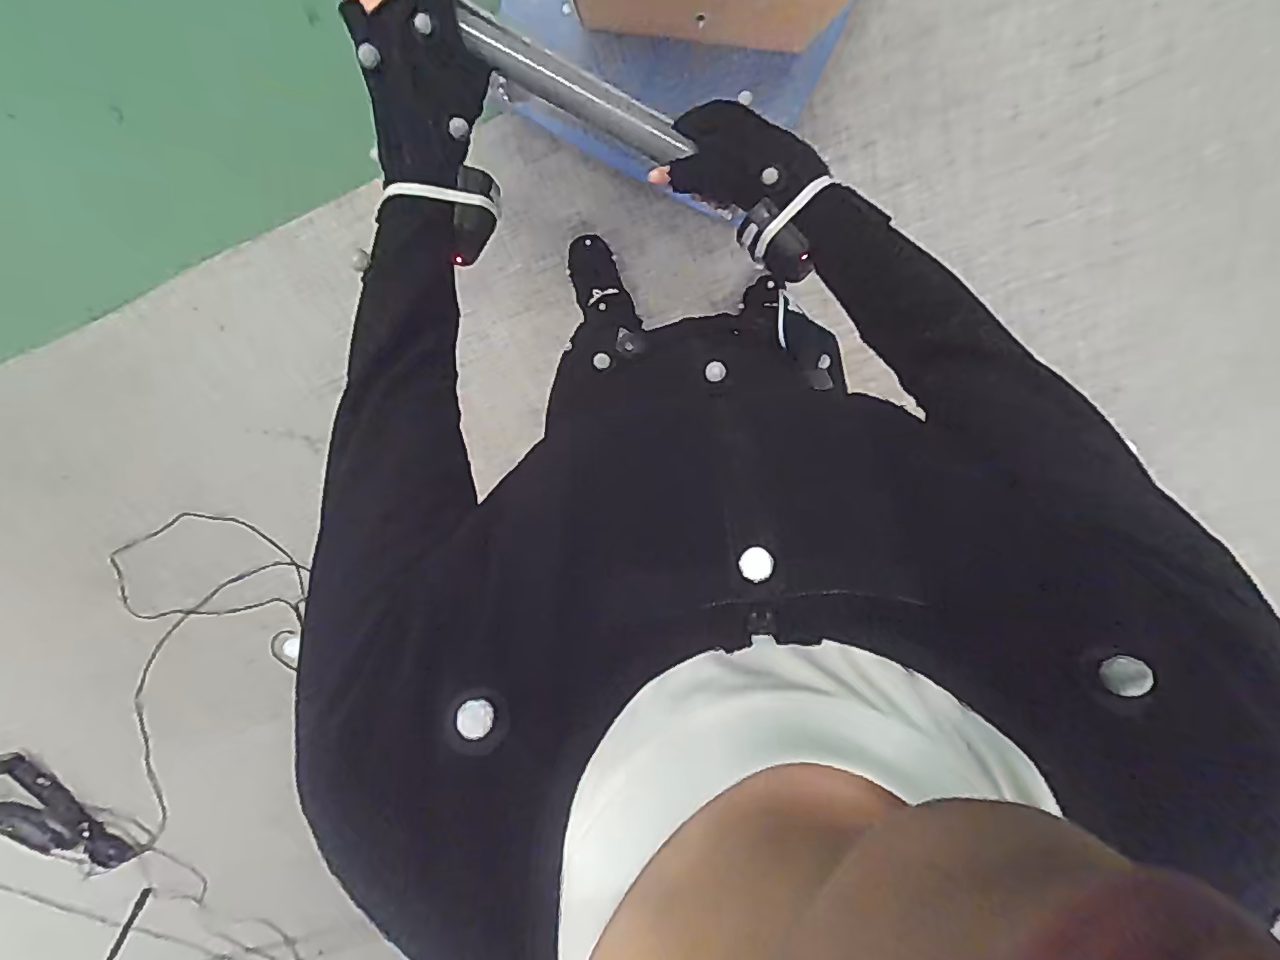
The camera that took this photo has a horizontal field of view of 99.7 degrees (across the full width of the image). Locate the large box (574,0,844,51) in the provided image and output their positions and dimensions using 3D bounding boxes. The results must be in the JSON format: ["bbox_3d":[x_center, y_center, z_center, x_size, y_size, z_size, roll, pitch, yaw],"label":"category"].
[{"bbox_3d":[0.107,-0.871,0.791,0.408,0.320,0.320,6,115,-1],"label":"large box"}]
